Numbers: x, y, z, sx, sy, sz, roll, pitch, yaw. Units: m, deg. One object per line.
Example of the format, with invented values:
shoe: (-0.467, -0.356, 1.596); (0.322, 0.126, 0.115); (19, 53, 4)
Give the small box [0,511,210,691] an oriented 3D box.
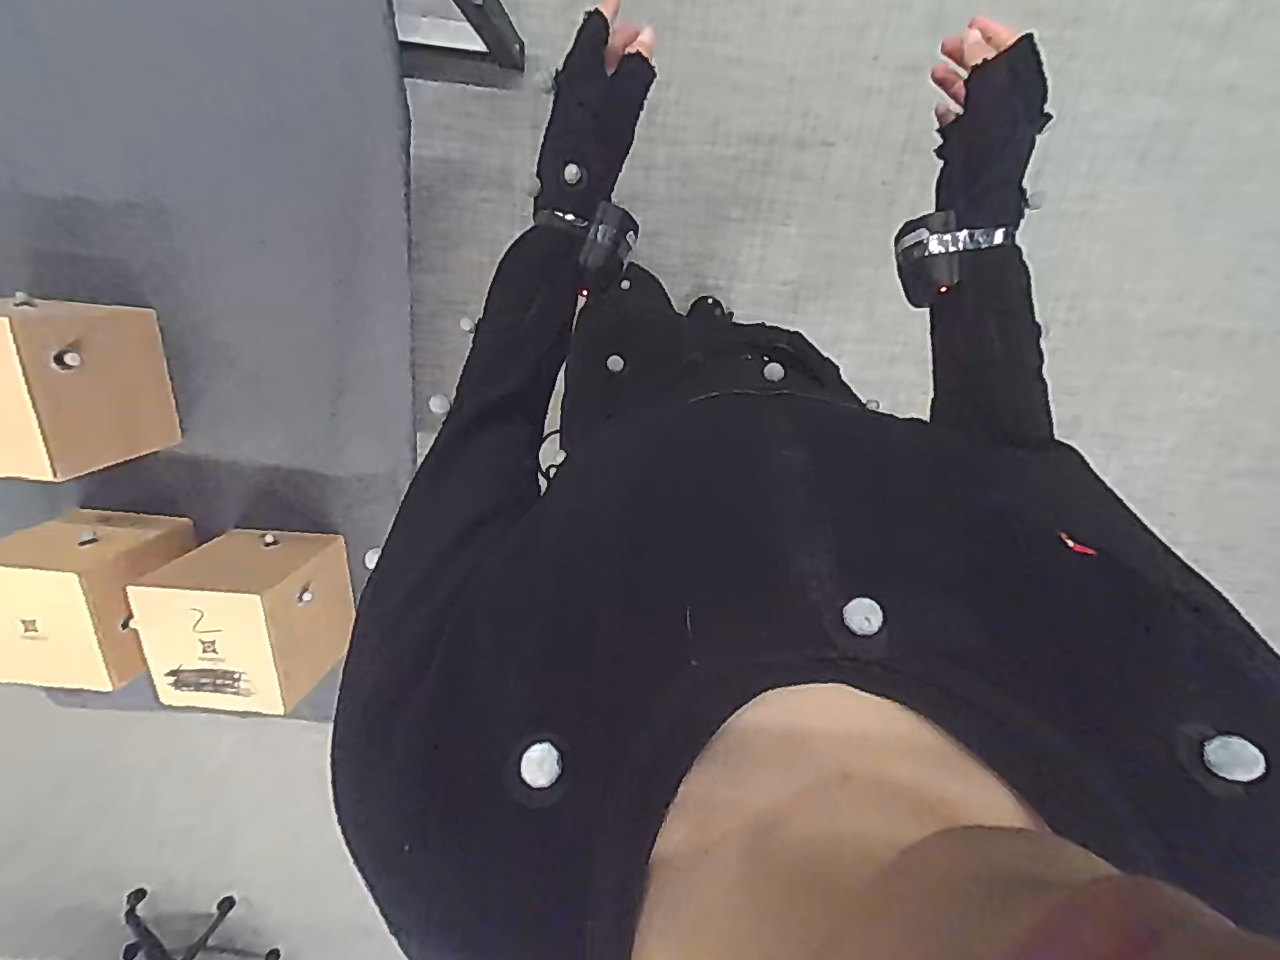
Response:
small box: (-0.734, 0.153, 0.731); (0.168, 0.176, 0.179); (5, 110, 0)
